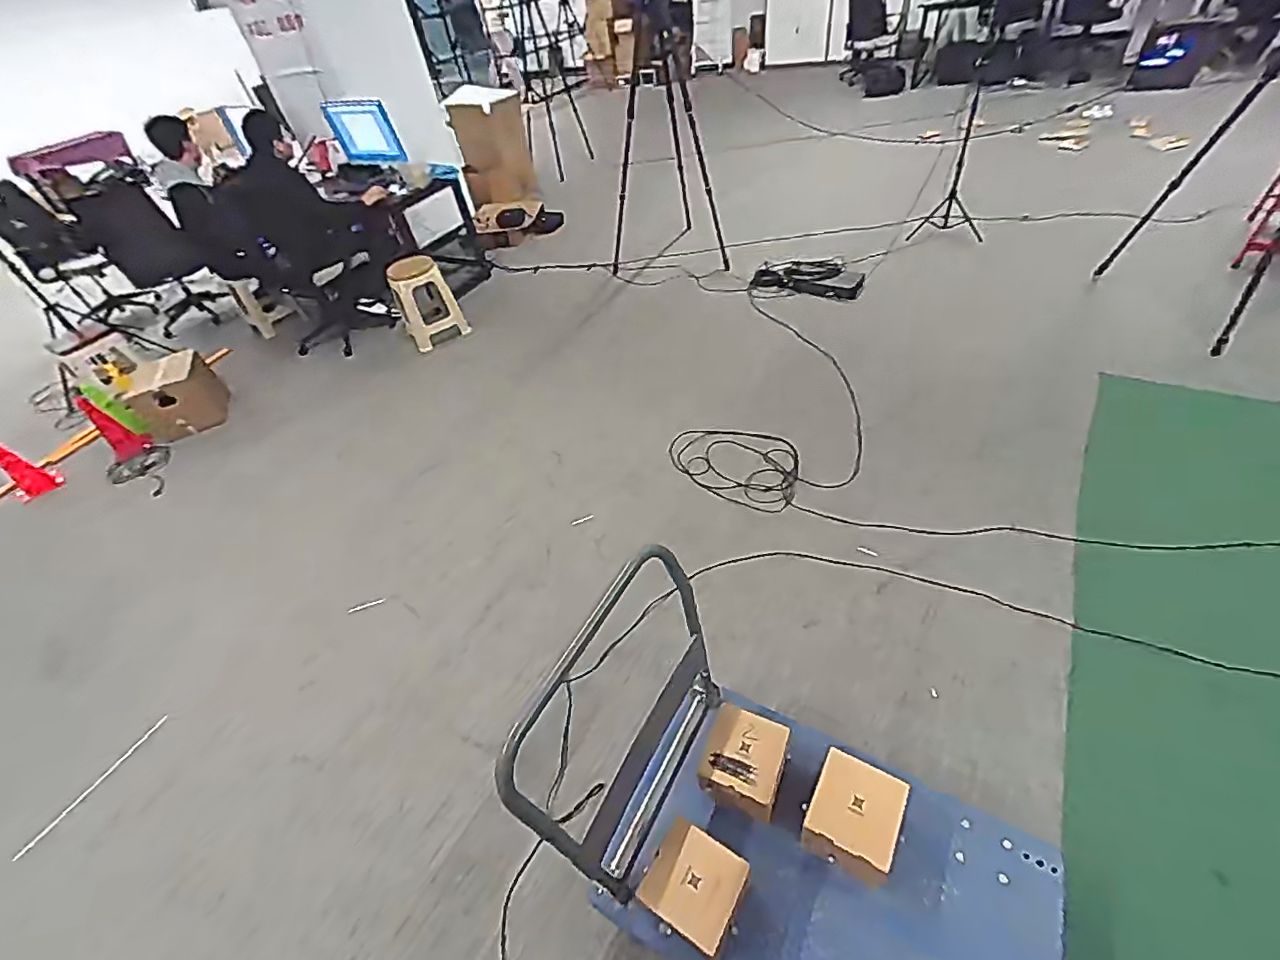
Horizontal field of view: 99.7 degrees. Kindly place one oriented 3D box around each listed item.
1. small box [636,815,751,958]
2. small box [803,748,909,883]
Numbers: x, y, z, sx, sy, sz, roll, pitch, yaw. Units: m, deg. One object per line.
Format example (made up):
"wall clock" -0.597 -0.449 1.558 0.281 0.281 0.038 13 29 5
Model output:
"small box" 0.117 0.843 1.118 0.179 0.176 0.168 20 53 28
"small box" 0.460 0.725 1.169 0.168 0.176 0.179 18 53 26
